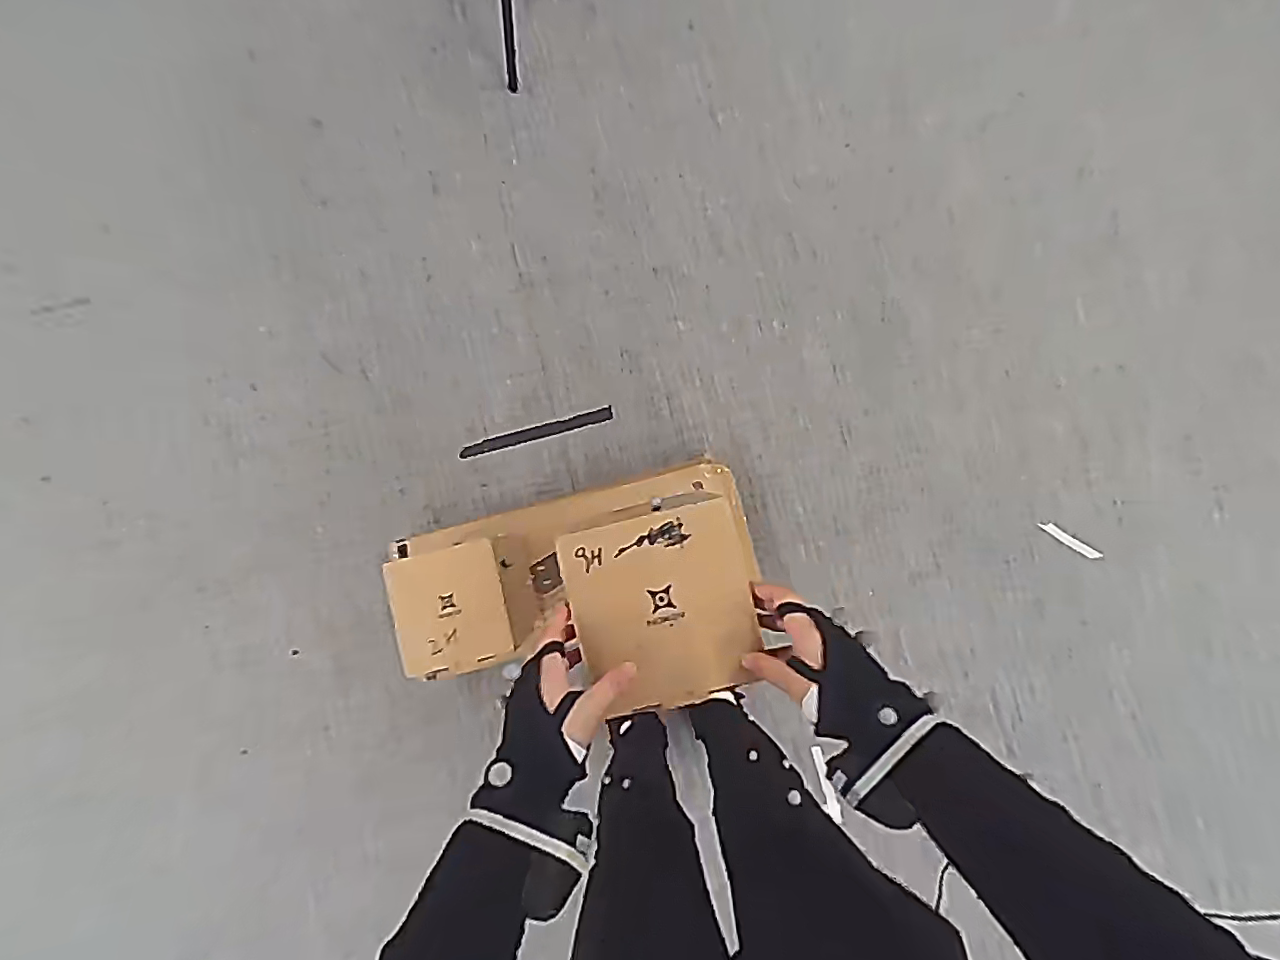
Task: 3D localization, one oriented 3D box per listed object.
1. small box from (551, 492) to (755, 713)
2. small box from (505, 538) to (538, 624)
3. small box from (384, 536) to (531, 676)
[{"bbox_3d":[0.012,0.117,0.588,0.168,0.176,0.179,-13,92,-1],"label":"small box"},{"bbox_3d":[-0.306,0.214,1.044,0.168,0.176,0.179,-15,88,-2],"label":"small box"},{"bbox_3d":[-0.286,0.193,0.880,0.168,0.176,0.179,-14,87,-1],"label":"small box"}]
